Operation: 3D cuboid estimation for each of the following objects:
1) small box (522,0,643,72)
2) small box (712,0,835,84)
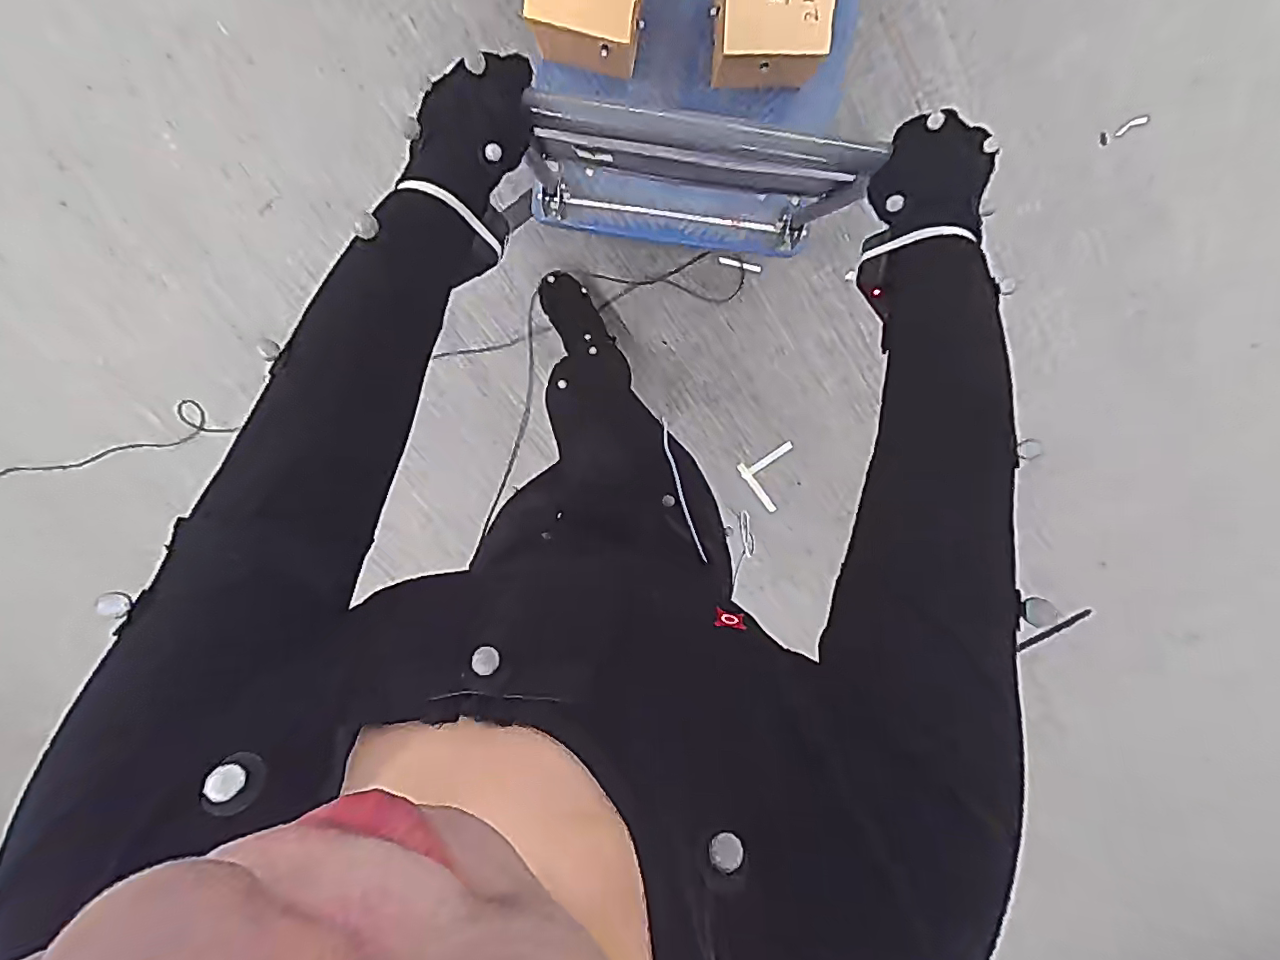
[{"bbox_3d":[-0.086,-0.825,0.908,0.179,0.176,0.168,11,110,-6],"label":"small box"},{"bbox_3d":[0.220,-0.794,0.916,0.179,0.176,0.168,1,112,0],"label":"small box"}]
